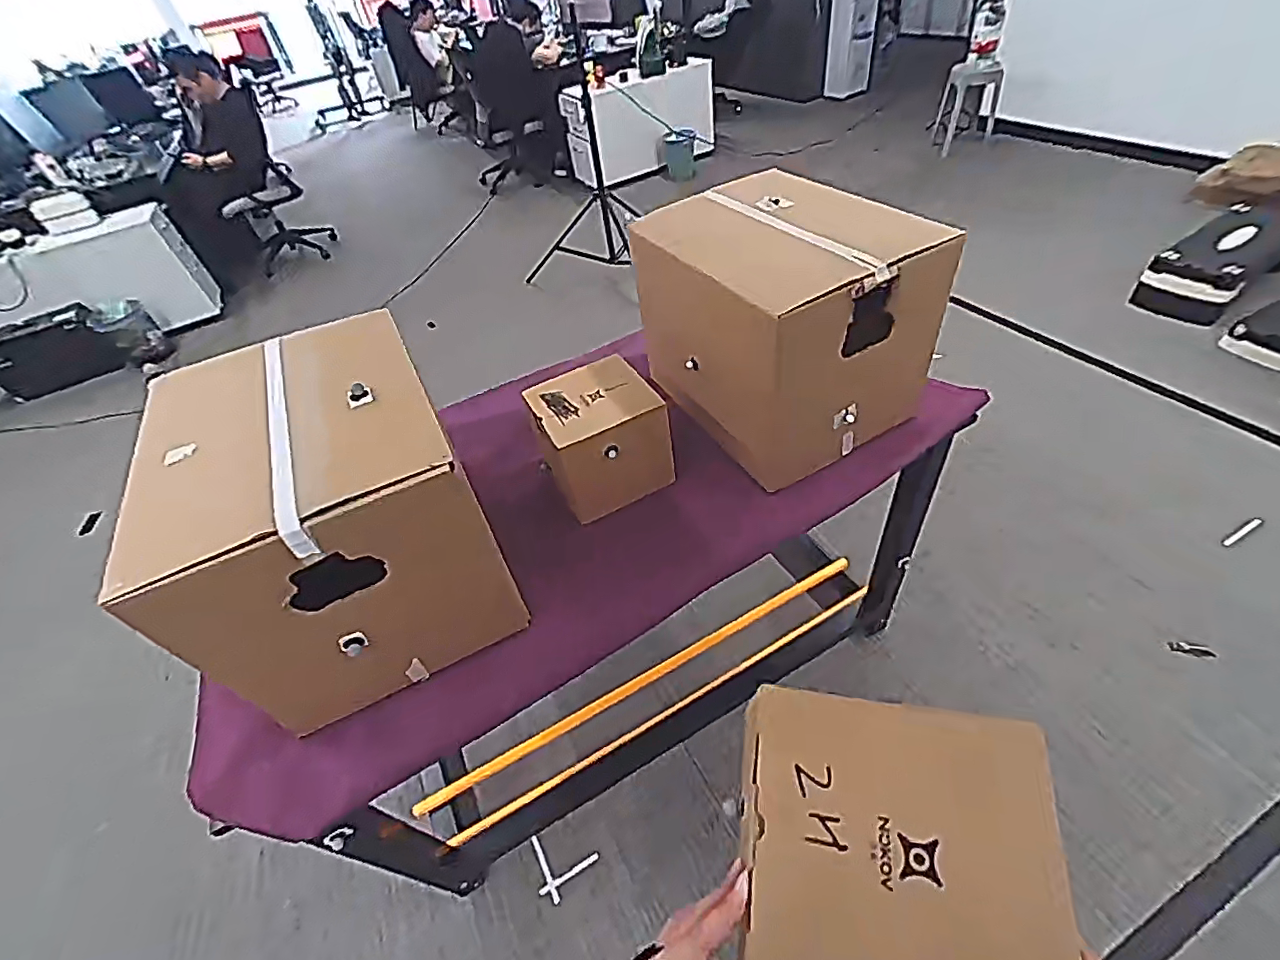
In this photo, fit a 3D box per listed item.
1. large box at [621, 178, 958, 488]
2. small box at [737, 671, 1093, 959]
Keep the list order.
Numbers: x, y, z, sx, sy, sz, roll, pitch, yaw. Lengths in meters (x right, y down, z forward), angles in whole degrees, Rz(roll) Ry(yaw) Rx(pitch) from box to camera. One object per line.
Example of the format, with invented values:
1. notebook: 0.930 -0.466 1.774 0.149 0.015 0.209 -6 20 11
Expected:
1. large box: 0.218 -0.259 0.902 0.320 0.320 0.408 -26 46 -15
2. small box: 0.166 0.243 0.383 0.179 0.176 0.168 5 63 10
